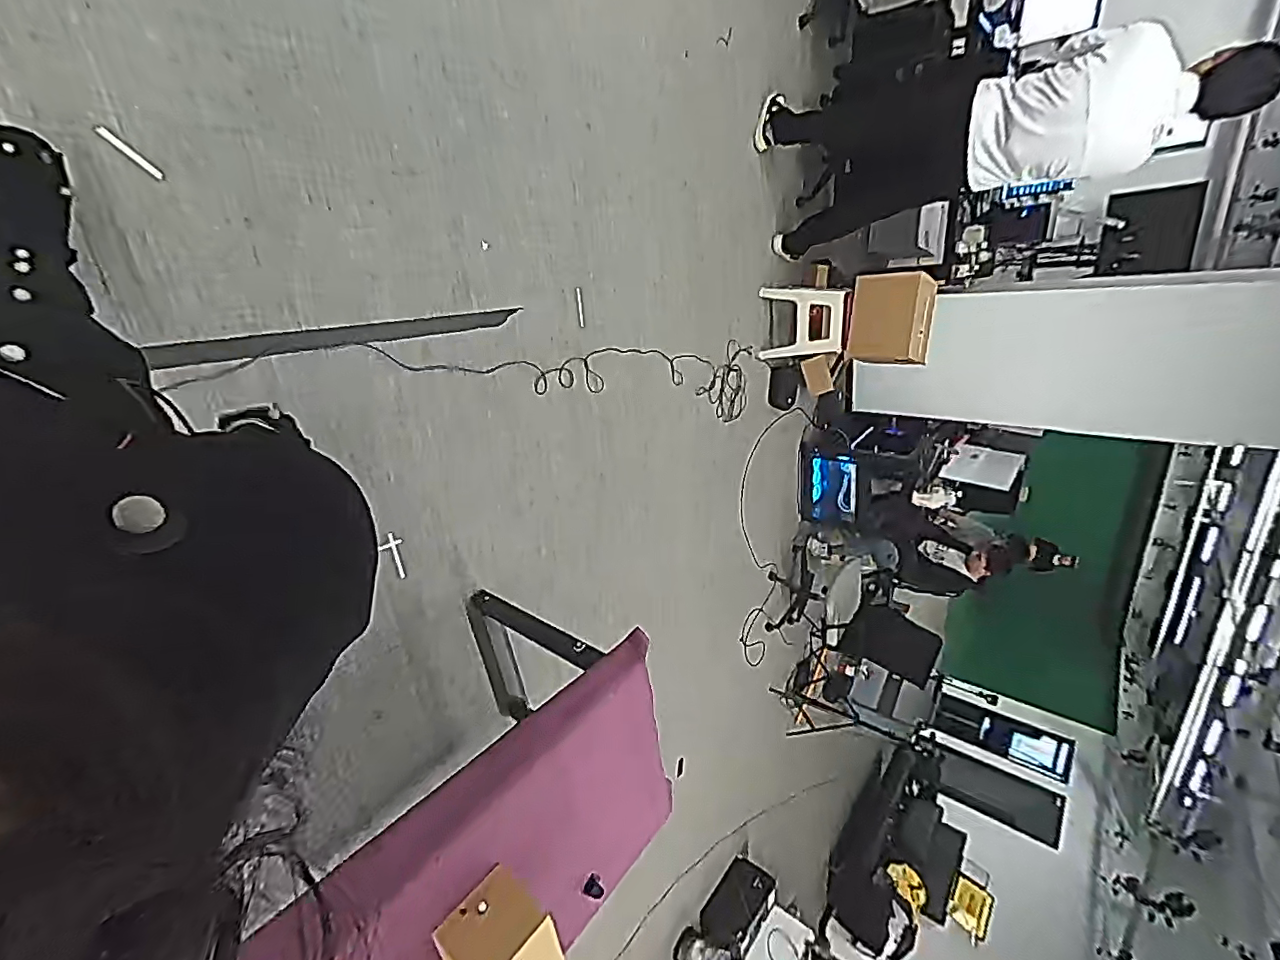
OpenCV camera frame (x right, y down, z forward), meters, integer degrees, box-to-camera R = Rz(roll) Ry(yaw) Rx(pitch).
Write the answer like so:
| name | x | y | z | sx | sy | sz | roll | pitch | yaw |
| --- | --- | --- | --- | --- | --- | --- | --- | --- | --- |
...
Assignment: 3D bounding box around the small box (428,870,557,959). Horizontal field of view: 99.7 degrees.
| name | x | y | z | sx | sy | sz | roll | pitch | yaw |
| --- | --- | --- | --- | --- | --- | --- | --- | --- | --- |
| small box | -0.287 | 0.929 | 1.065 | 0.168 | 0.176 | 0.179 | -30 | 121 | -43 |
